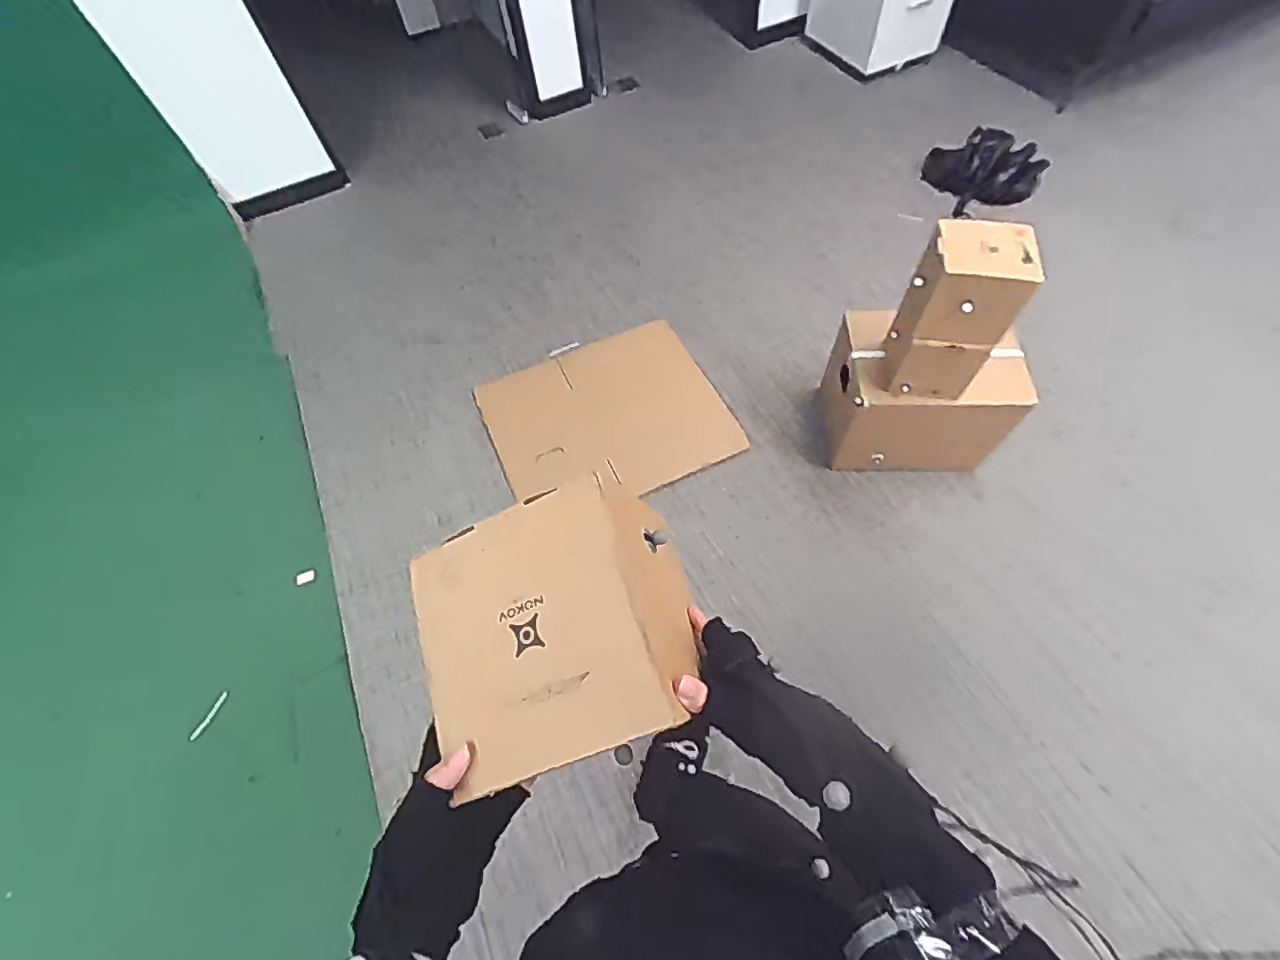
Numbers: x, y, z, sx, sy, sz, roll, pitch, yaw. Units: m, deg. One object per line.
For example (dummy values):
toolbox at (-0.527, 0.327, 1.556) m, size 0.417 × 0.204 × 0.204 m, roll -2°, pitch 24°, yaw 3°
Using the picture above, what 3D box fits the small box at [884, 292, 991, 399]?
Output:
small box at (0.676, -0.307, 1.250) m, size 0.168 × 0.176 × 0.179 m, roll 6°, pitch 60°, yaw 9°

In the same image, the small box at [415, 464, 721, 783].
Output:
small box at (-0.050, 0.117, 0.444) m, size 0.168 × 0.176 × 0.179 m, roll -26°, pitch 67°, yaw 12°

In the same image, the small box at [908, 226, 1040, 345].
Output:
small box at (0.671, -0.397, 1.116) m, size 0.179 × 0.176 × 0.168 m, roll 5°, pitch 59°, yaw 8°
